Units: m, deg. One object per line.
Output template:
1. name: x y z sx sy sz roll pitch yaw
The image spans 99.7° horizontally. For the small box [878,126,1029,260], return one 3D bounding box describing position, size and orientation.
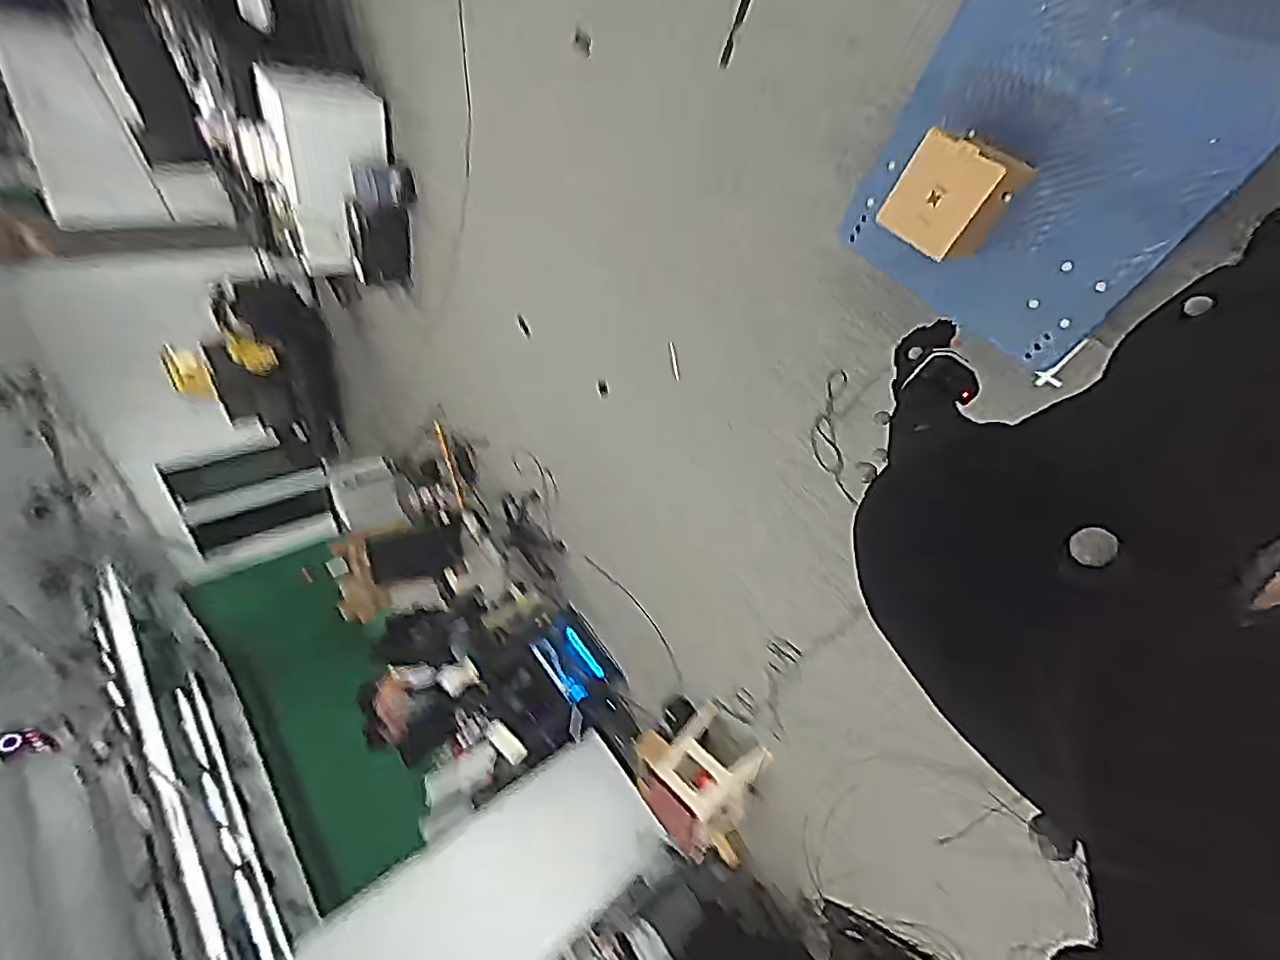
1. small box: 0.617 -0.560 1.059 0.168 0.176 0.179 49 141 24
